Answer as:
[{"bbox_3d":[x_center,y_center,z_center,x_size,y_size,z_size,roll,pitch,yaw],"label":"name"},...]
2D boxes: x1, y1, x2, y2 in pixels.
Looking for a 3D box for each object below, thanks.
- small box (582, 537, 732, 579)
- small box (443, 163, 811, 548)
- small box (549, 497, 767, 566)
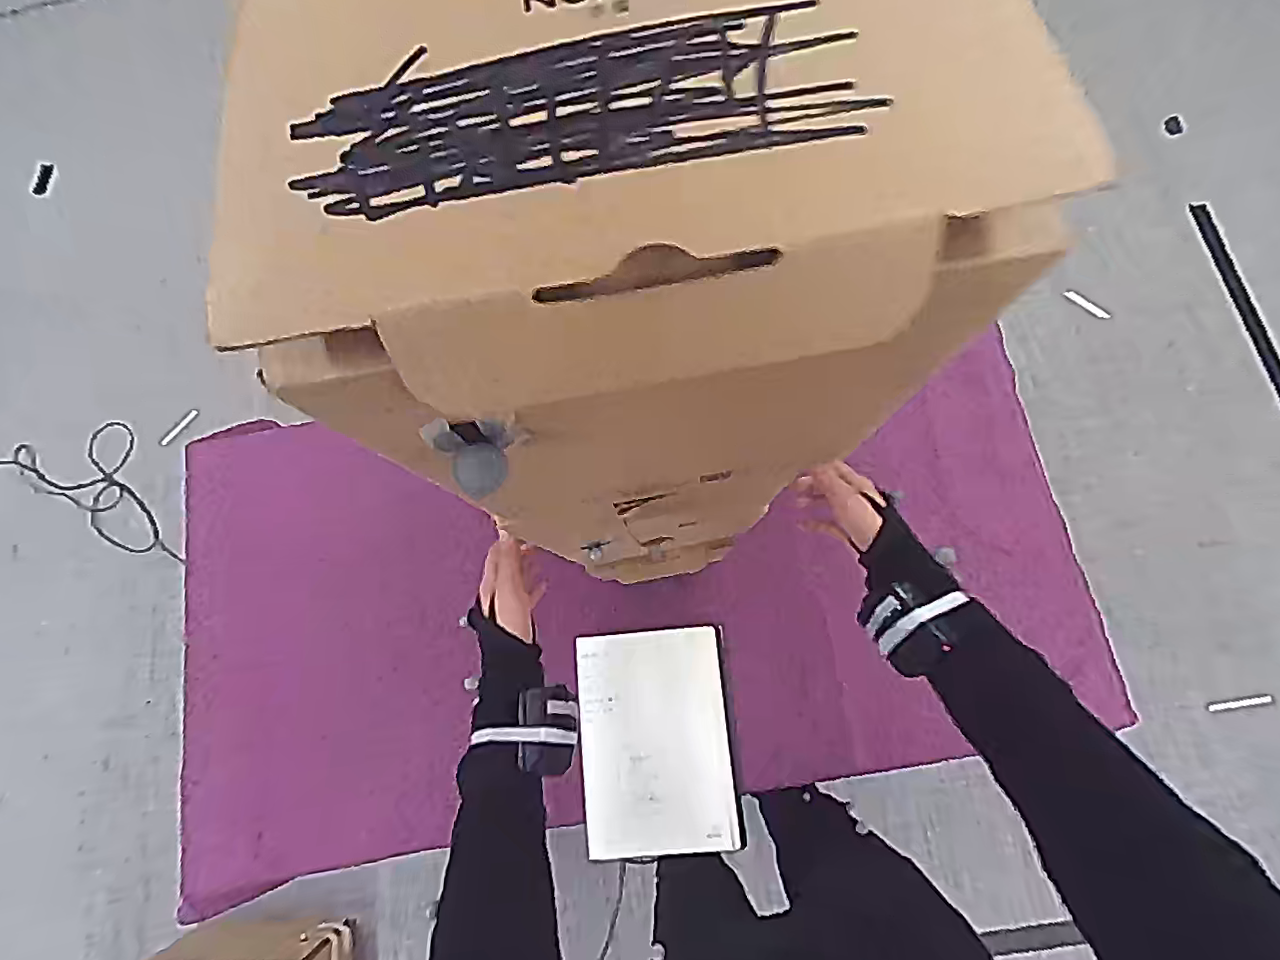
[{"bbox_3d":[0.012,0.025,0.674,0.168,0.176,0.179,-10,76,1],"label":"small box"},{"bbox_3d":[-0.007,-0.057,0.355,0.168,0.176,0.179,-13,76,0],"label":"small box"},{"bbox_3d":[0.005,-0.017,0.515,0.179,0.176,0.168,-11,77,0],"label":"small box"}]
